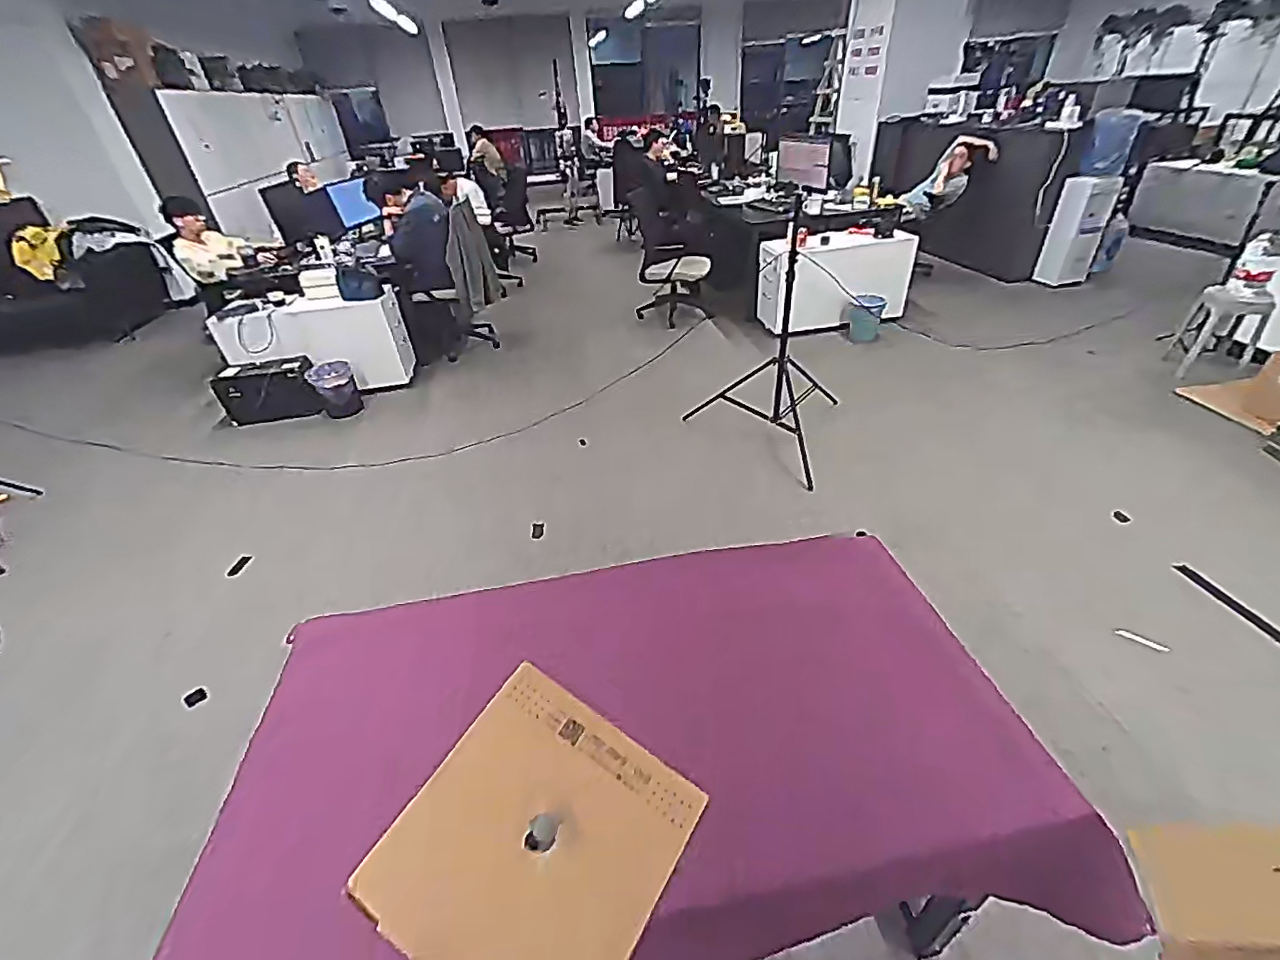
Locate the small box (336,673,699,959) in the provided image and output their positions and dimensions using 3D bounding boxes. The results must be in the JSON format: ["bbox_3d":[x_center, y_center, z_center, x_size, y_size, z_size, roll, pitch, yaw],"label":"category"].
[{"bbox_3d":[-0.074,0.273,0.403,0.168,0.179,0.176,31,57,14],"label":"small box"}]

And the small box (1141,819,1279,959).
[{"bbox_3d":[0.359,0.258,0.228,0.168,0.179,0.176,-23,65,31],"label":"small box"}]
